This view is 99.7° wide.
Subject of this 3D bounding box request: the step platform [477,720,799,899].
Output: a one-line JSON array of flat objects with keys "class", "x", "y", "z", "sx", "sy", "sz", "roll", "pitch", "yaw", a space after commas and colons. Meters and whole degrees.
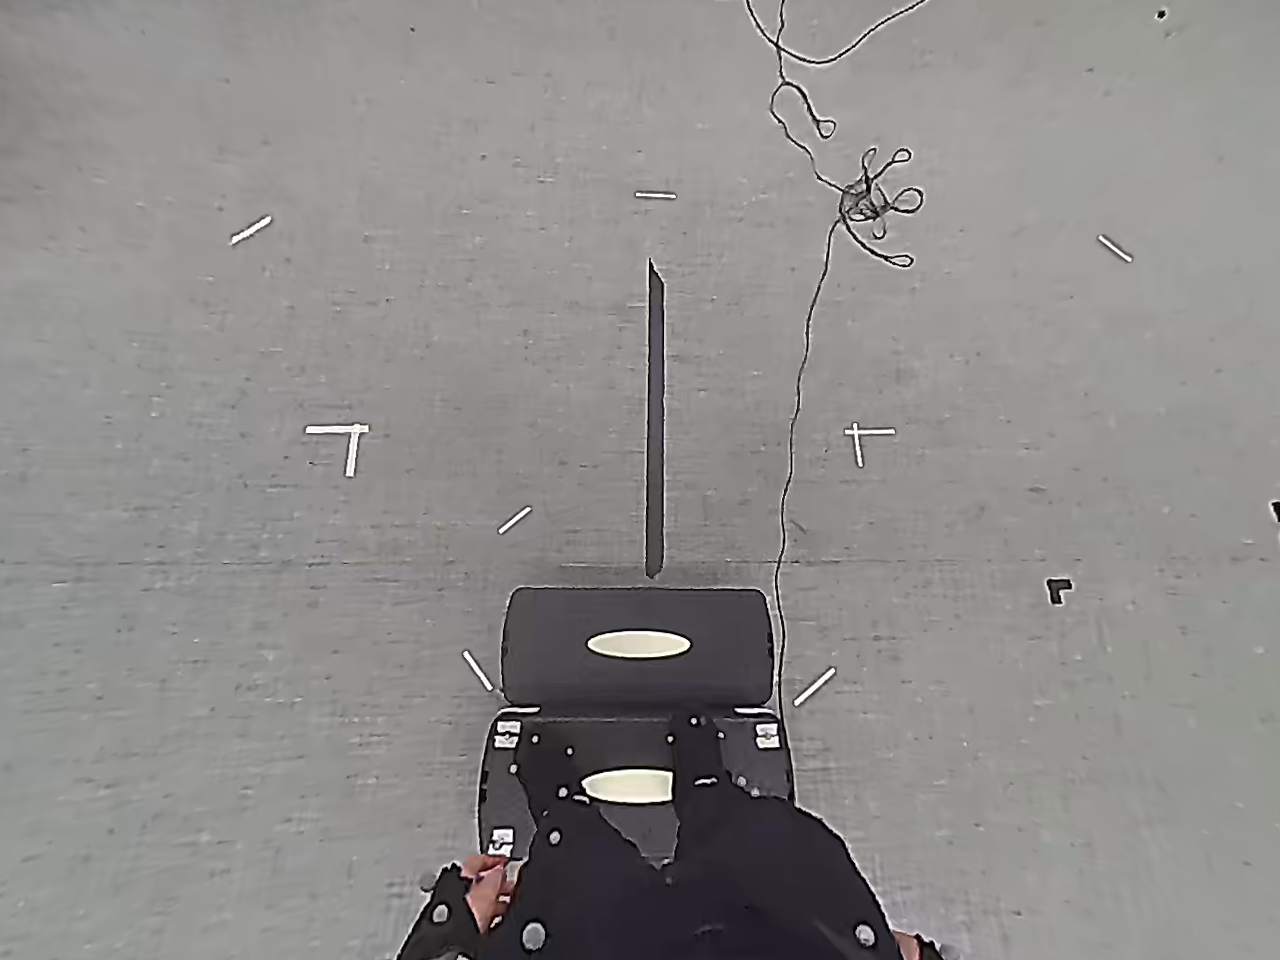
[{"class": "step platform", "x": -0.002, "y": 0.716, "z": 1.200, "sx": 0.684, "sy": 0.204, "sz": 0.286, "roll": 4, "pitch": 70, "yaw": 1}]
